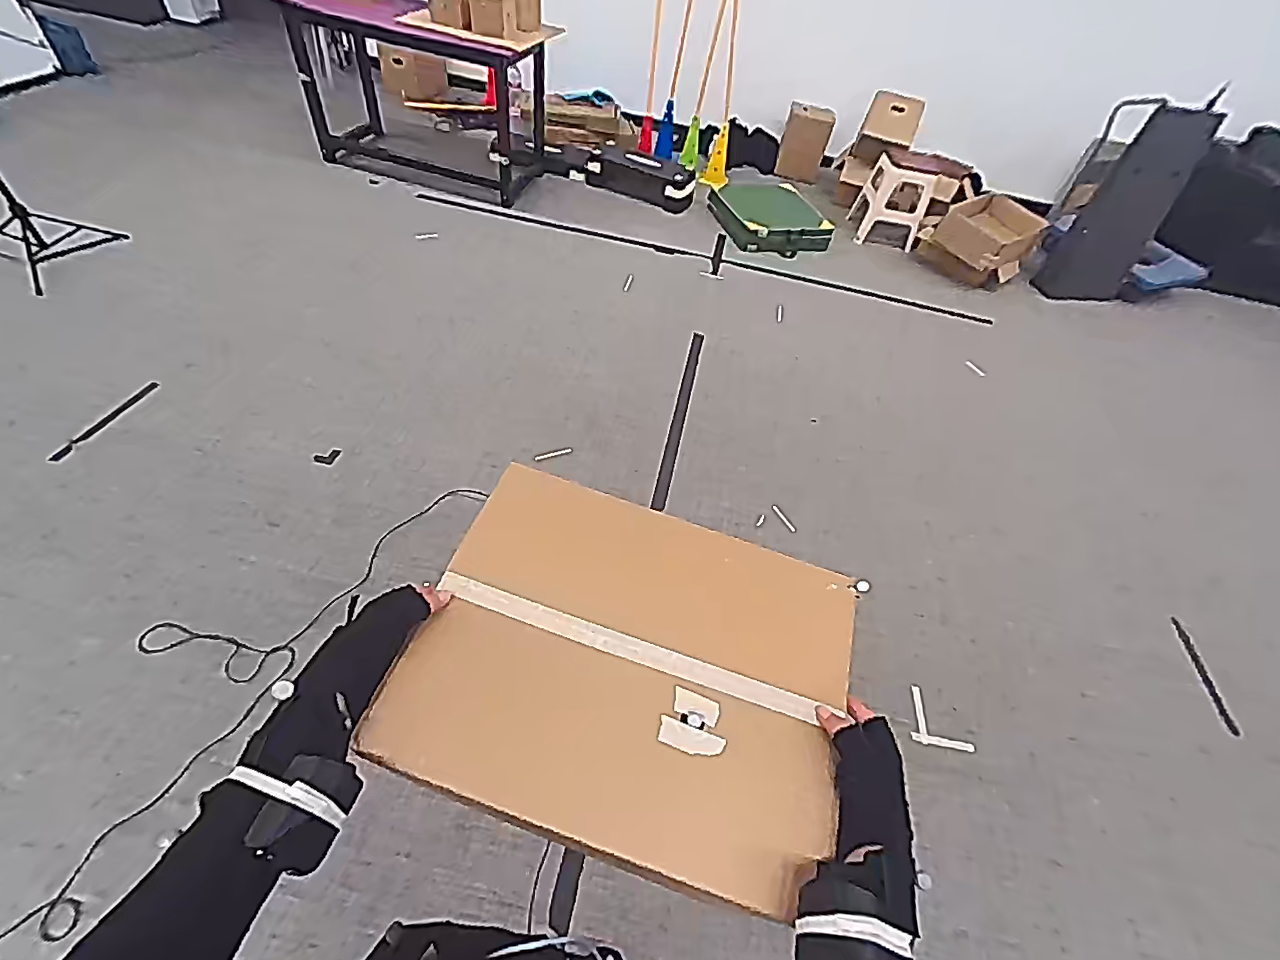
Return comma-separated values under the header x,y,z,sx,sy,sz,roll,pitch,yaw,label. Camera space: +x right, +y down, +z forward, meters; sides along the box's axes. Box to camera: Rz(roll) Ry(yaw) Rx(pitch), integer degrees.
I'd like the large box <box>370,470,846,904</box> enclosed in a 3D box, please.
x,y,z,sx,sy,sz,roll,pitch,yaw,label
-0.022,0.246,0.648,0.408,0.320,0.320,19,56,3,large box
